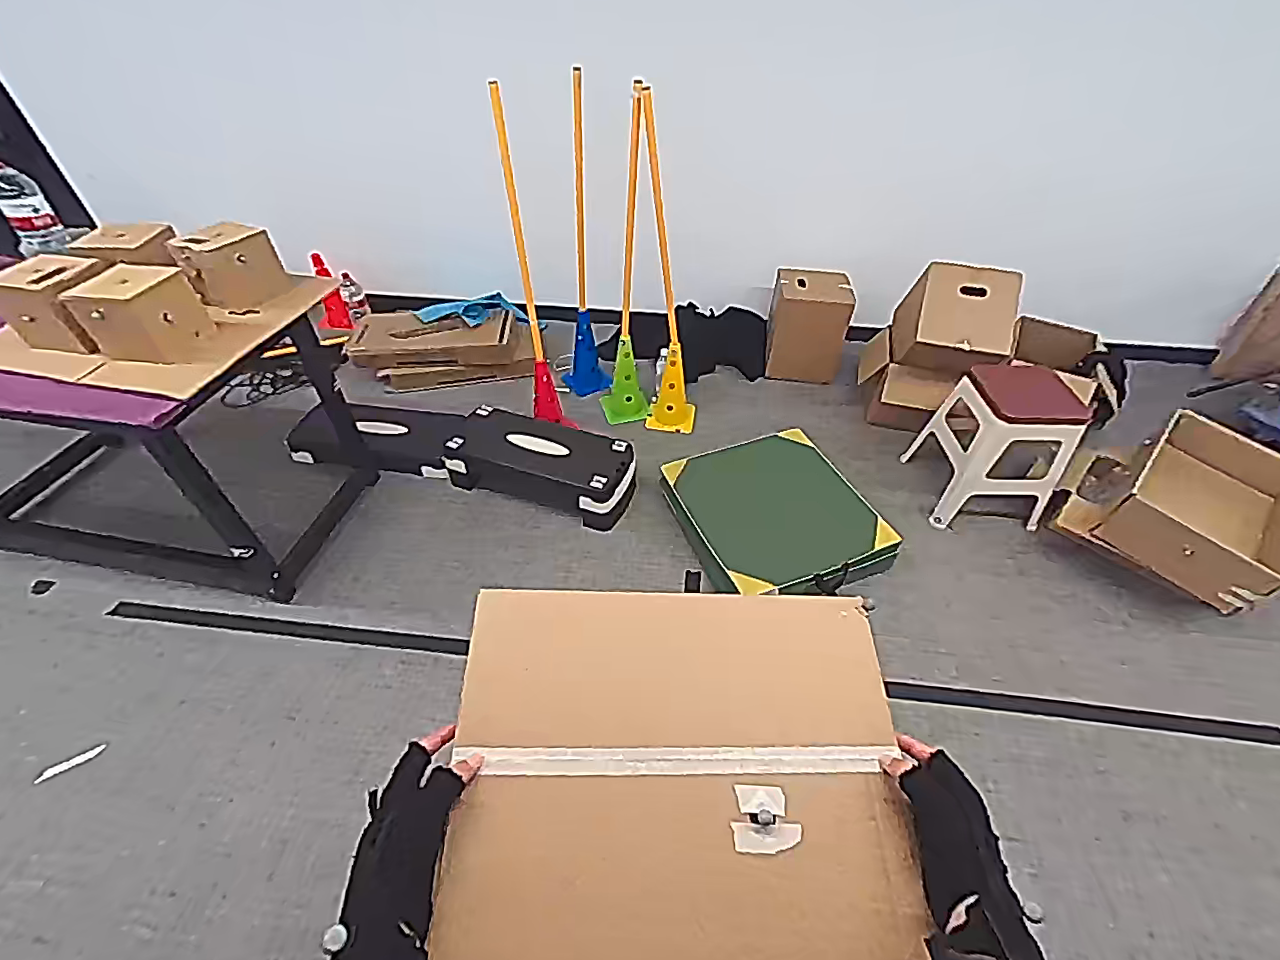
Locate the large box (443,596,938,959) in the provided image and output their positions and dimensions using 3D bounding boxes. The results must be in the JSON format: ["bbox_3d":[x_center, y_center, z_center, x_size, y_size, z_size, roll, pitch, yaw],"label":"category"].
[{"bbox_3d":[0.031,0.338,0.626,0.408,0.320,0.320,2,58,-4],"label":"large box"}]
